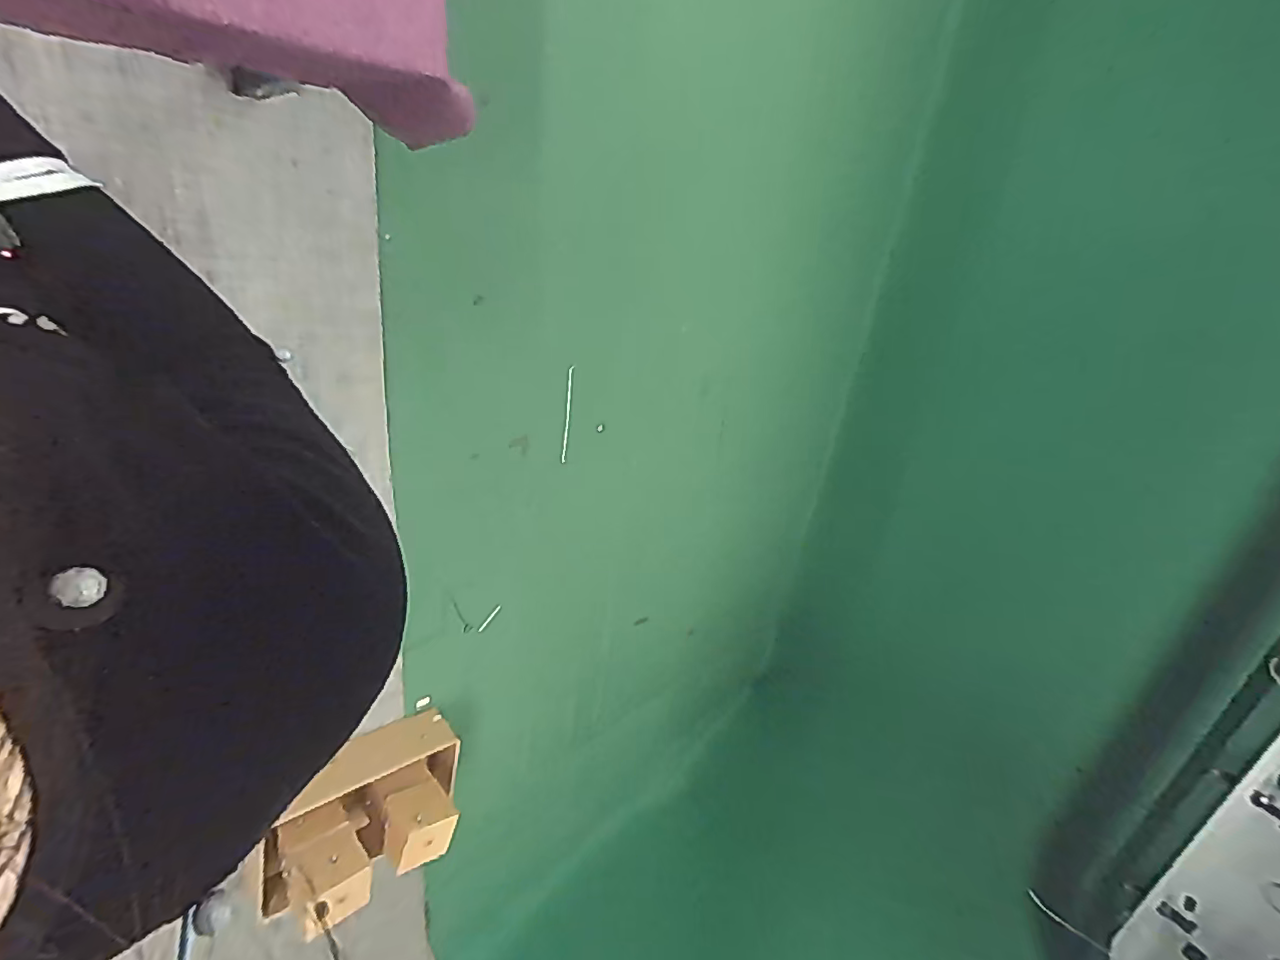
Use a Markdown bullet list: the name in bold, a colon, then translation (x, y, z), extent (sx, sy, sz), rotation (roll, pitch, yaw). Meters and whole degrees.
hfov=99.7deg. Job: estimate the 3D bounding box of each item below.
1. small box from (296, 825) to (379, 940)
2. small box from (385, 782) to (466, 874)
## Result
- **small box**: translation (-0.906, 1.190, 1.612), extent (0.179, 0.176, 0.168), rotation (-8, 117, -47)
- **small box**: translation (-0.718, 1.148, 1.803), extent (0.179, 0.176, 0.168), rotation (10, 104, -48)
